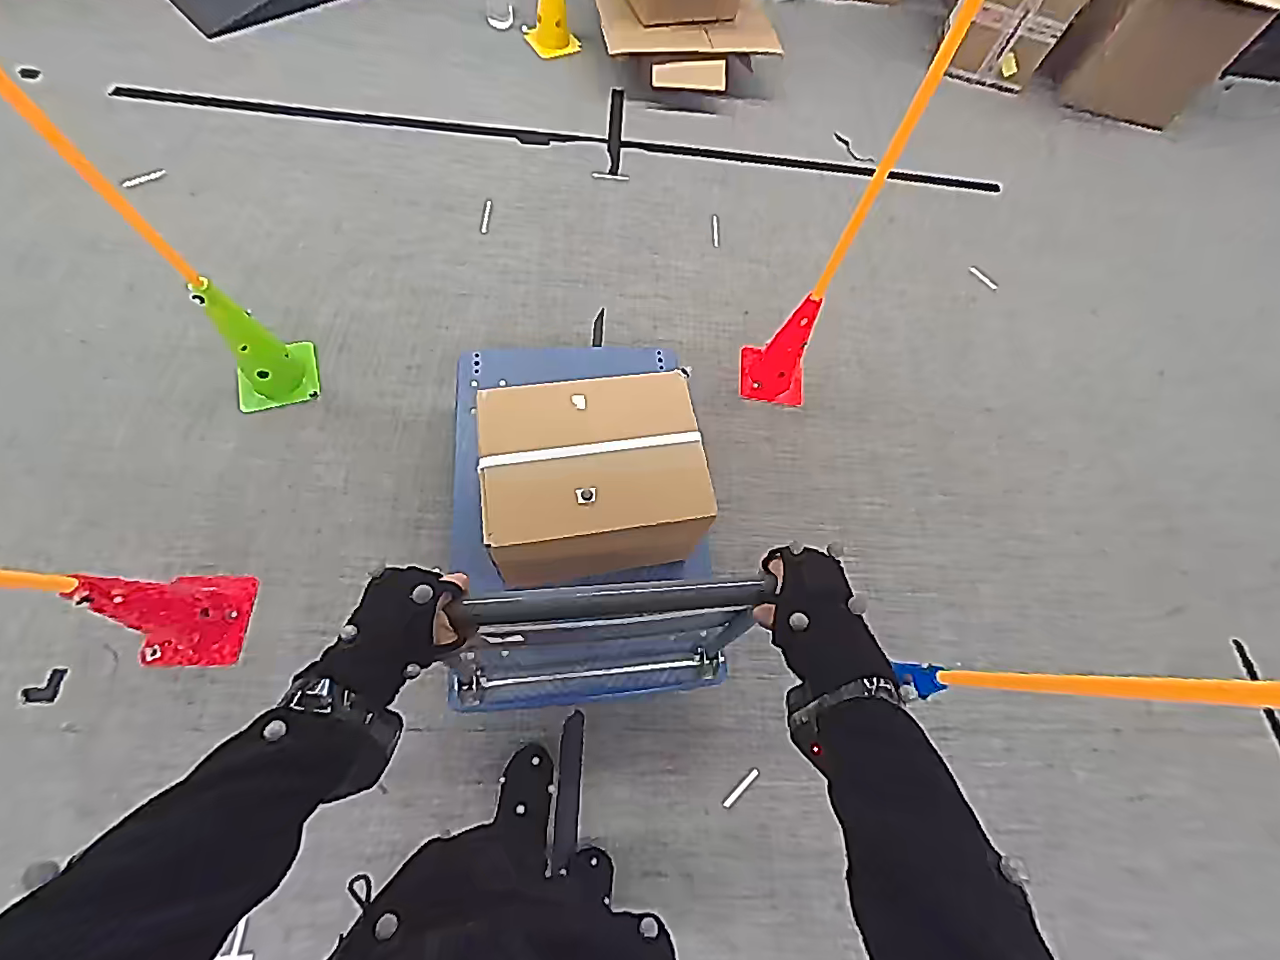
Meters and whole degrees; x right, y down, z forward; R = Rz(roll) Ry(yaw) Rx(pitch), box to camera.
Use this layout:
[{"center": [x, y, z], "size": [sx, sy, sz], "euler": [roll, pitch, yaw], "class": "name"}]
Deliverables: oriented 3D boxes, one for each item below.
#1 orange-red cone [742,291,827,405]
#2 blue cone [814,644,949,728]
[{"center": [0.440, -0.398, 1.533], "size": [0.199, 0.360, 0.198], "euler": [10, 66, -4], "class": "orange-red cone"}, {"center": [0.553, 0.439, 1.191], "size": [0.193, 0.380, 0.192], "euler": [0, 65, -7], "class": "blue cone"}]
